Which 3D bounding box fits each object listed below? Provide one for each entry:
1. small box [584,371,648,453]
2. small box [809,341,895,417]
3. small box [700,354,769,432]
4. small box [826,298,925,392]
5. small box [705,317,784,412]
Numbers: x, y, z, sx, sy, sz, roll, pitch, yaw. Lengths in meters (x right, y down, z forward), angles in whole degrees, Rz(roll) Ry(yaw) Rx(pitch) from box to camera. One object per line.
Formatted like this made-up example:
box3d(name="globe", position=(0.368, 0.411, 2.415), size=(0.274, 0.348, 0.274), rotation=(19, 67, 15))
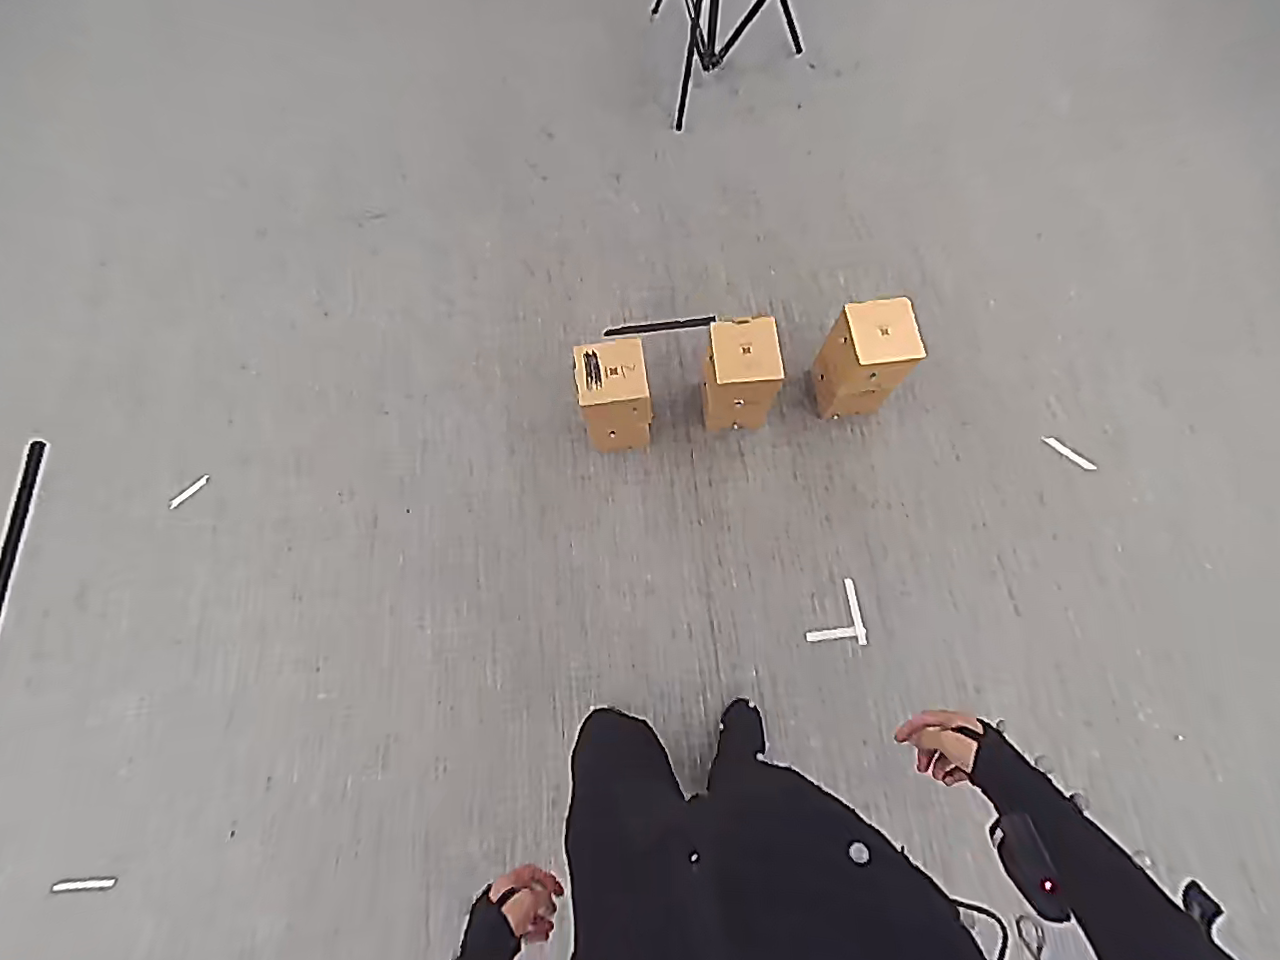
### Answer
box3d(name="small box", position=(-0.066, -0.191, 1.552), size=(0.168, 0.176, 0.179), rotation=(-6, 72, 1))
box3d(name="small box", position=(0.604, -0.292, 1.557), size=(0.168, 0.176, 0.179), rotation=(-8, 72, 0))
box3d(name="small box", position=(0.266, -0.252, 1.556), size=(0.168, 0.176, 0.179), rotation=(-4, 73, 1))
box3d(name="small box", position=(0.602, -0.340, 1.402), size=(0.168, 0.176, 0.179), rotation=(-7, 72, 0))
box3d(name="small box", position=(0.262, -0.294, 1.398), size=(0.168, 0.176, 0.179), rotation=(-5, 73, 1))
